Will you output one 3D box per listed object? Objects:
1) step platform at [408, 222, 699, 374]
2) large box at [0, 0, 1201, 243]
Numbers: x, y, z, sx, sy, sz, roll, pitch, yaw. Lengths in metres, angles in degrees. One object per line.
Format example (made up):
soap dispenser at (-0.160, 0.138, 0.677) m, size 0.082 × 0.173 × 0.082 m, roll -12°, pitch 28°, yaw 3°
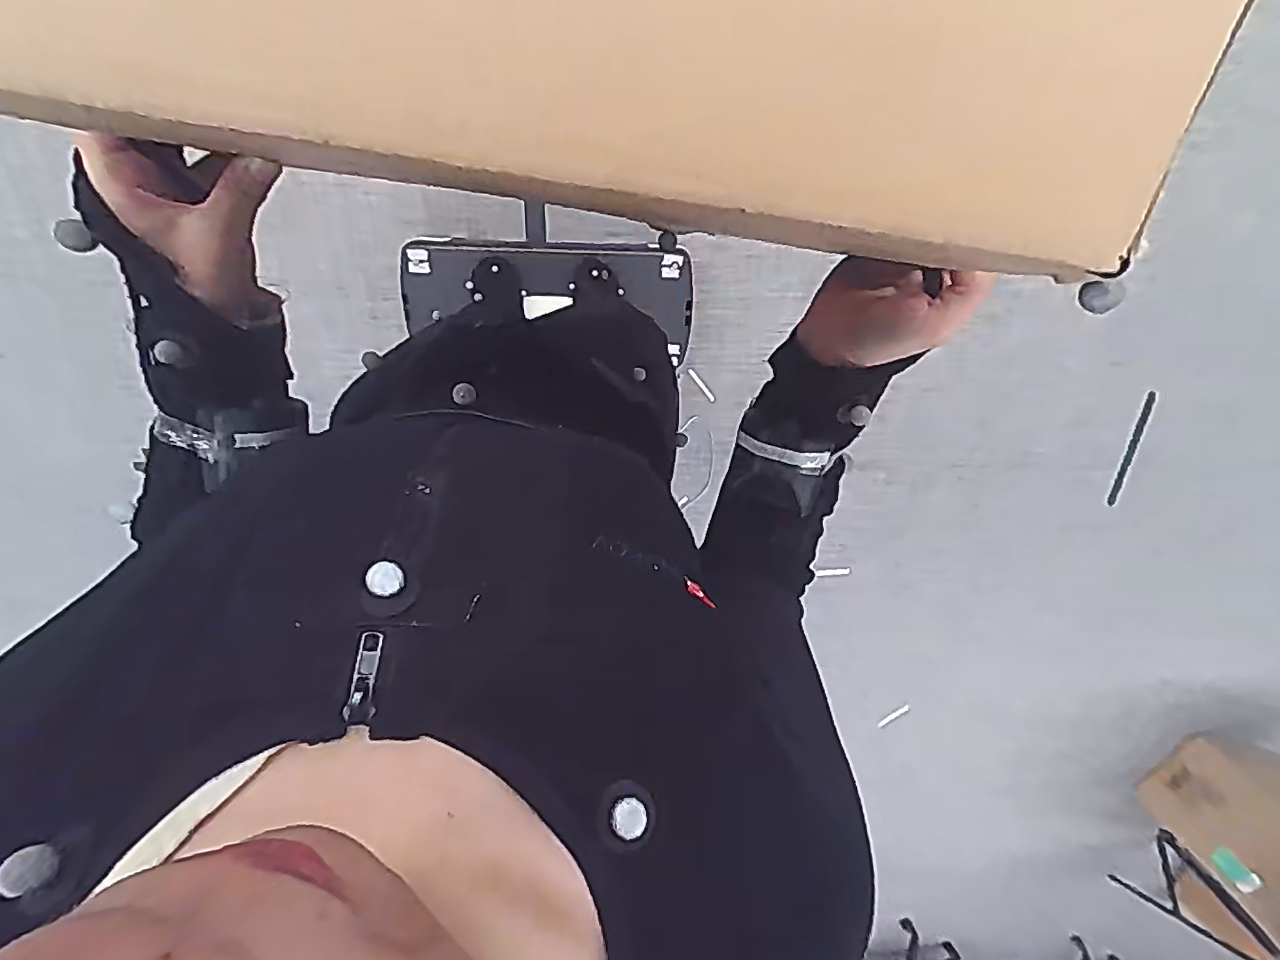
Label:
step platform at (-0.200, -0.441, 1.327) m, size 0.684 × 0.204 × 0.286 m, roll 4°, pitch 115°, yaw -7°
large box at (-0.039, -0.296, 0.225) m, size 0.408 × 0.320 × 0.320 m, roll 6°, pitch 117°, yaw -3°
